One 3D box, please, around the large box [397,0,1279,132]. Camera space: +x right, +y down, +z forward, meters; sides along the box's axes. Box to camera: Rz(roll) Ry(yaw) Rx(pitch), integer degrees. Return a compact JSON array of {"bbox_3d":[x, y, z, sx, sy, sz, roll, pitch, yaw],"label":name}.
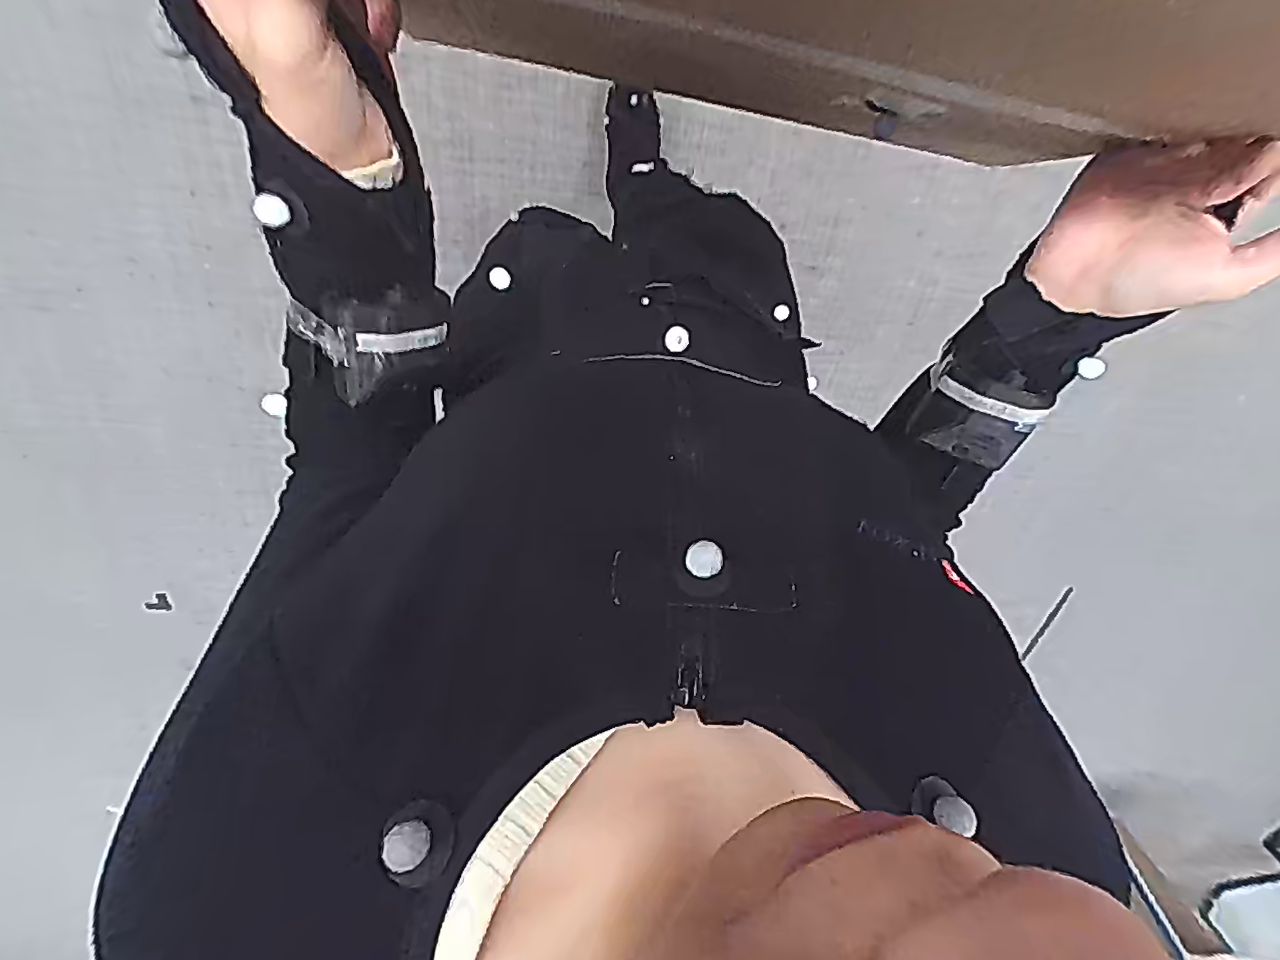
[{"bbox_3d":[0.092,-0.327,0.149,0.408,0.320,0.320,5,117,-8],"label":"large box"}]
